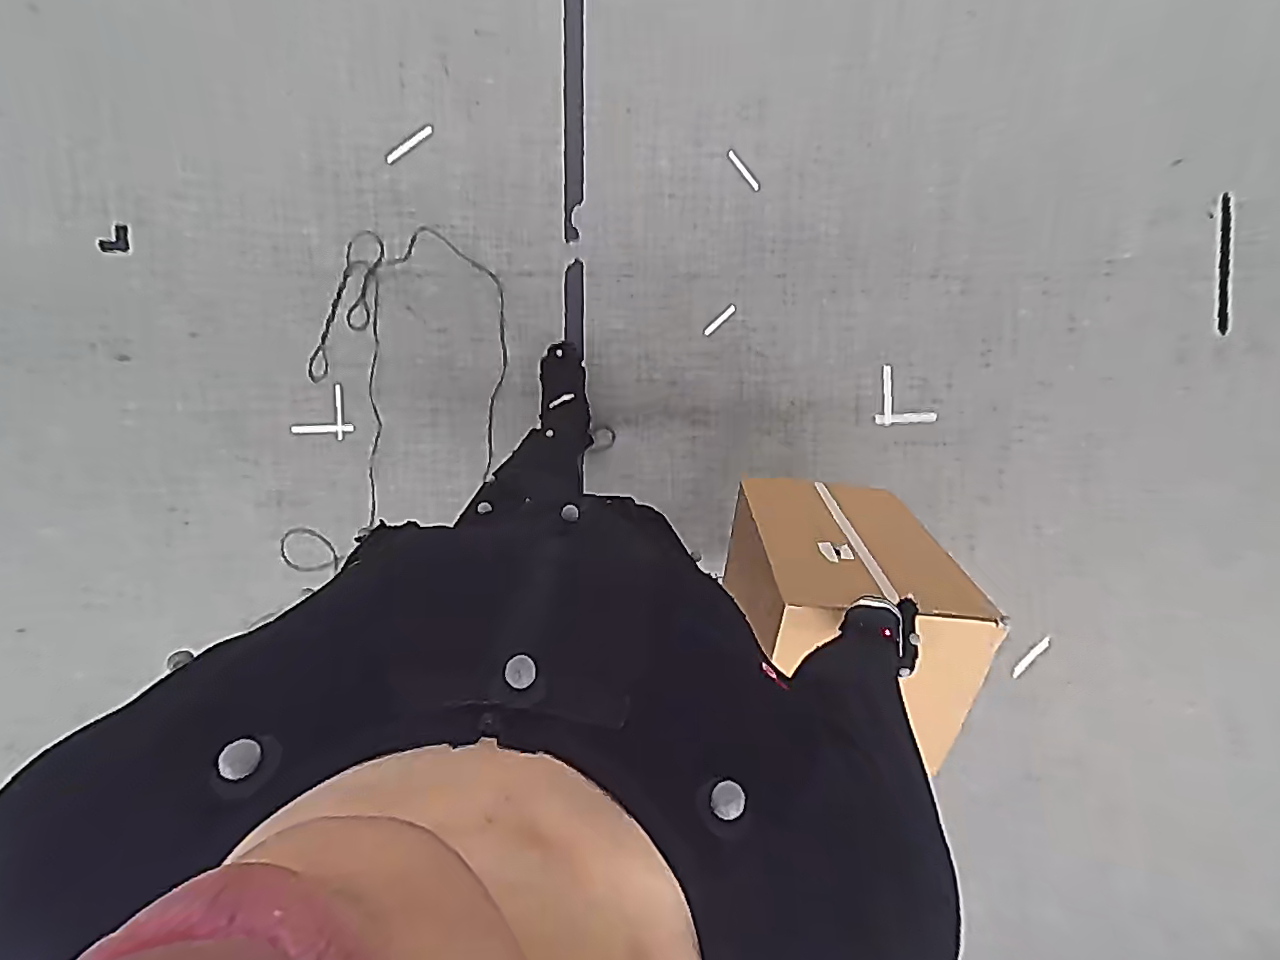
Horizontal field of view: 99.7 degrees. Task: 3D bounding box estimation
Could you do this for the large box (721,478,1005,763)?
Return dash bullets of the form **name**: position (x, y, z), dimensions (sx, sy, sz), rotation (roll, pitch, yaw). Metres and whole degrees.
- **large box**: position (0.346, 0.231, 0.990), dimensions (0.320, 0.408, 0.320), rotation (4, 117, -1)
